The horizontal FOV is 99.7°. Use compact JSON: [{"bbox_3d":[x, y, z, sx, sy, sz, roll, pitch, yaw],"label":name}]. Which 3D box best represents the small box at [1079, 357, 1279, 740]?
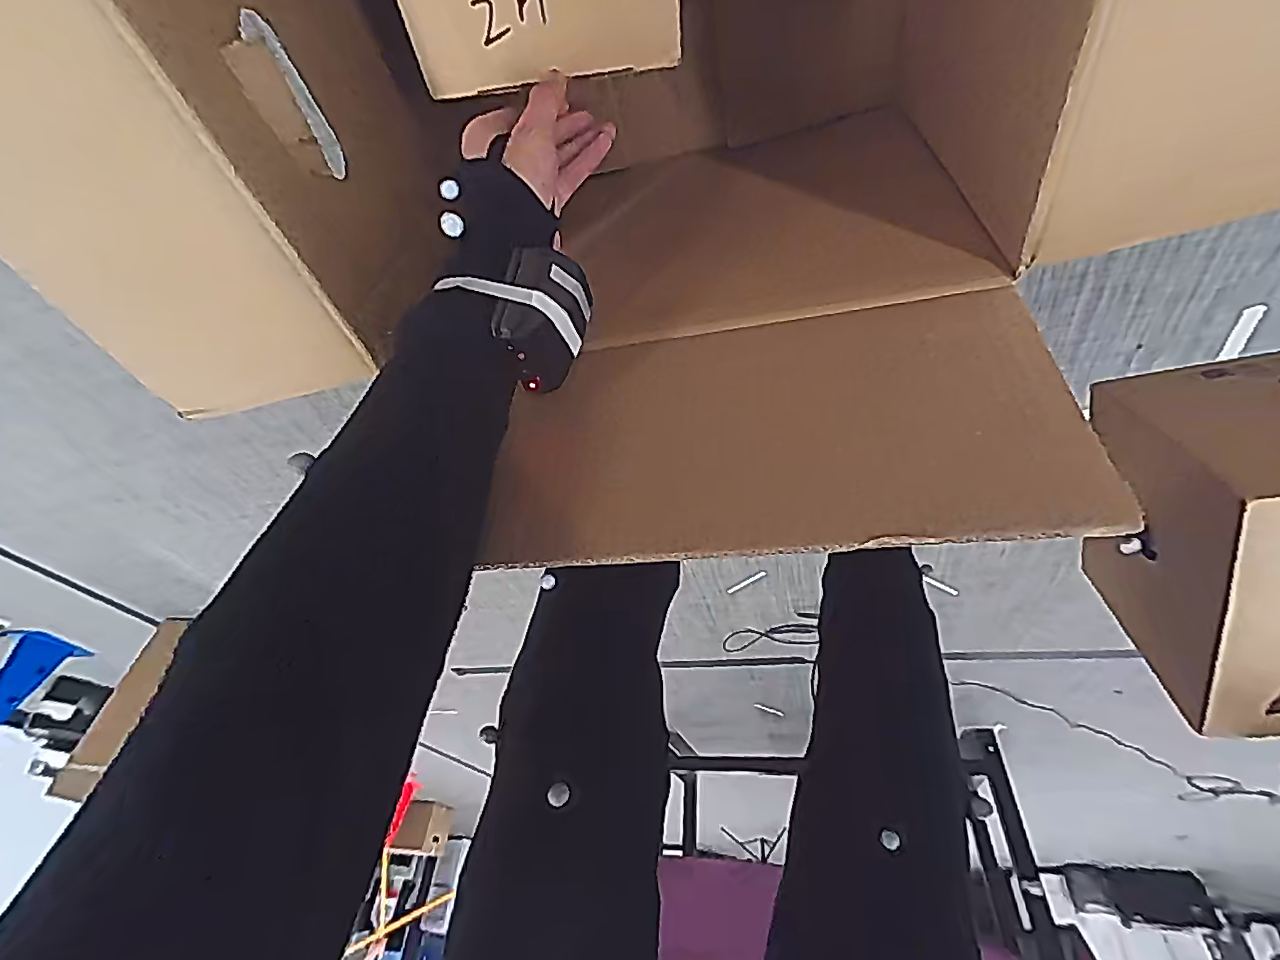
[{"bbox_3d":[0.407,0.035,0.335,0.168,0.176,0.179,-9,115,21],"label":"small box"}]
